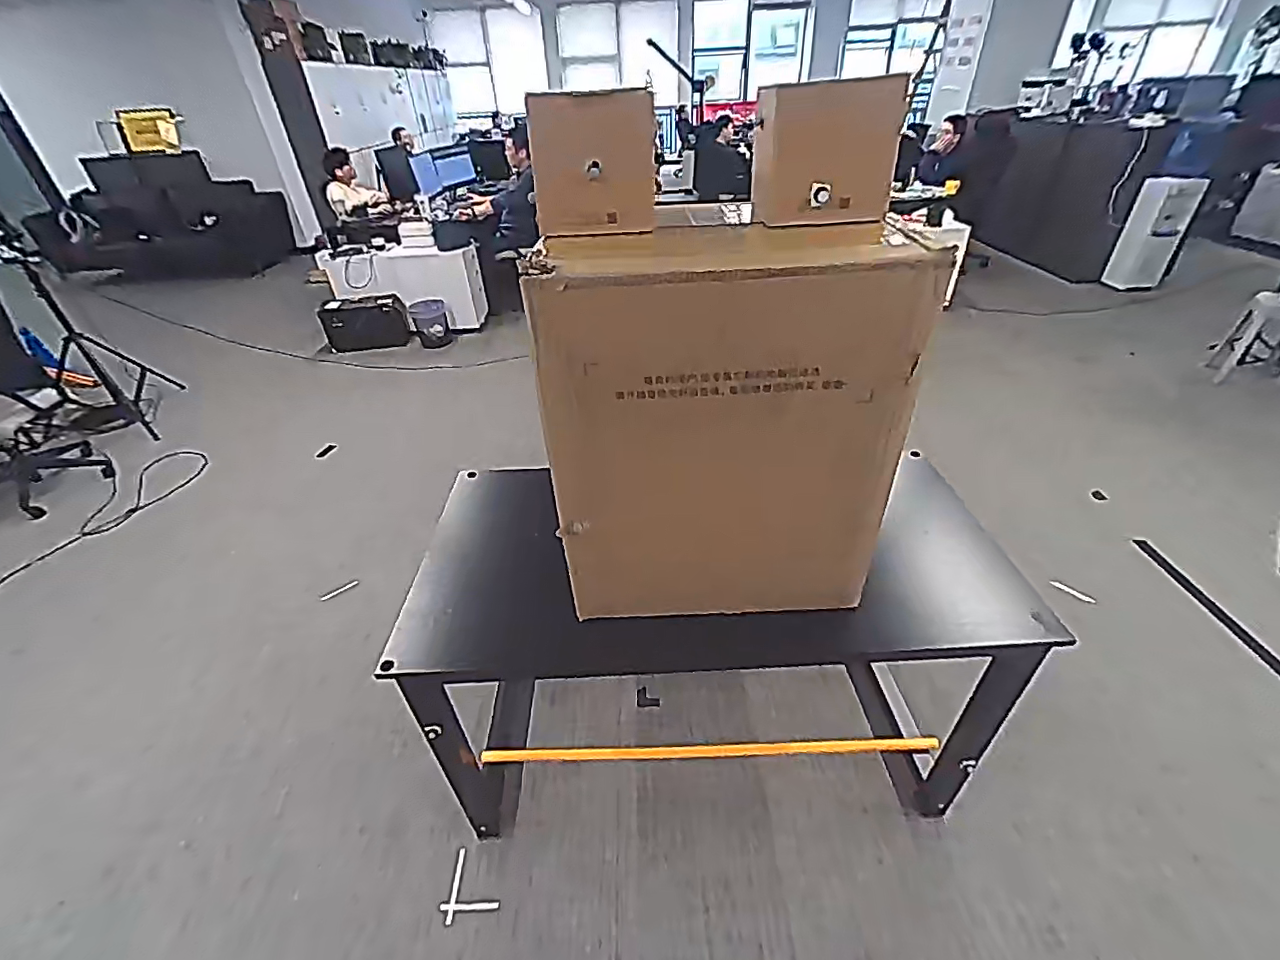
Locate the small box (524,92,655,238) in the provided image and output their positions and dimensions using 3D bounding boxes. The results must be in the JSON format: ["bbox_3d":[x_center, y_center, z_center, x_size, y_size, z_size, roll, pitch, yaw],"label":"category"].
[{"bbox_3d":[-0.069,-0.458,0.790,0.168,0.176,0.179,-4,36,-4],"label":"small box"}]

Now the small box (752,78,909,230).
[{"bbox_3d":[0.258,-0.468,0.782,0.168,0.176,0.179,-3,35,4],"label":"small box"}]
